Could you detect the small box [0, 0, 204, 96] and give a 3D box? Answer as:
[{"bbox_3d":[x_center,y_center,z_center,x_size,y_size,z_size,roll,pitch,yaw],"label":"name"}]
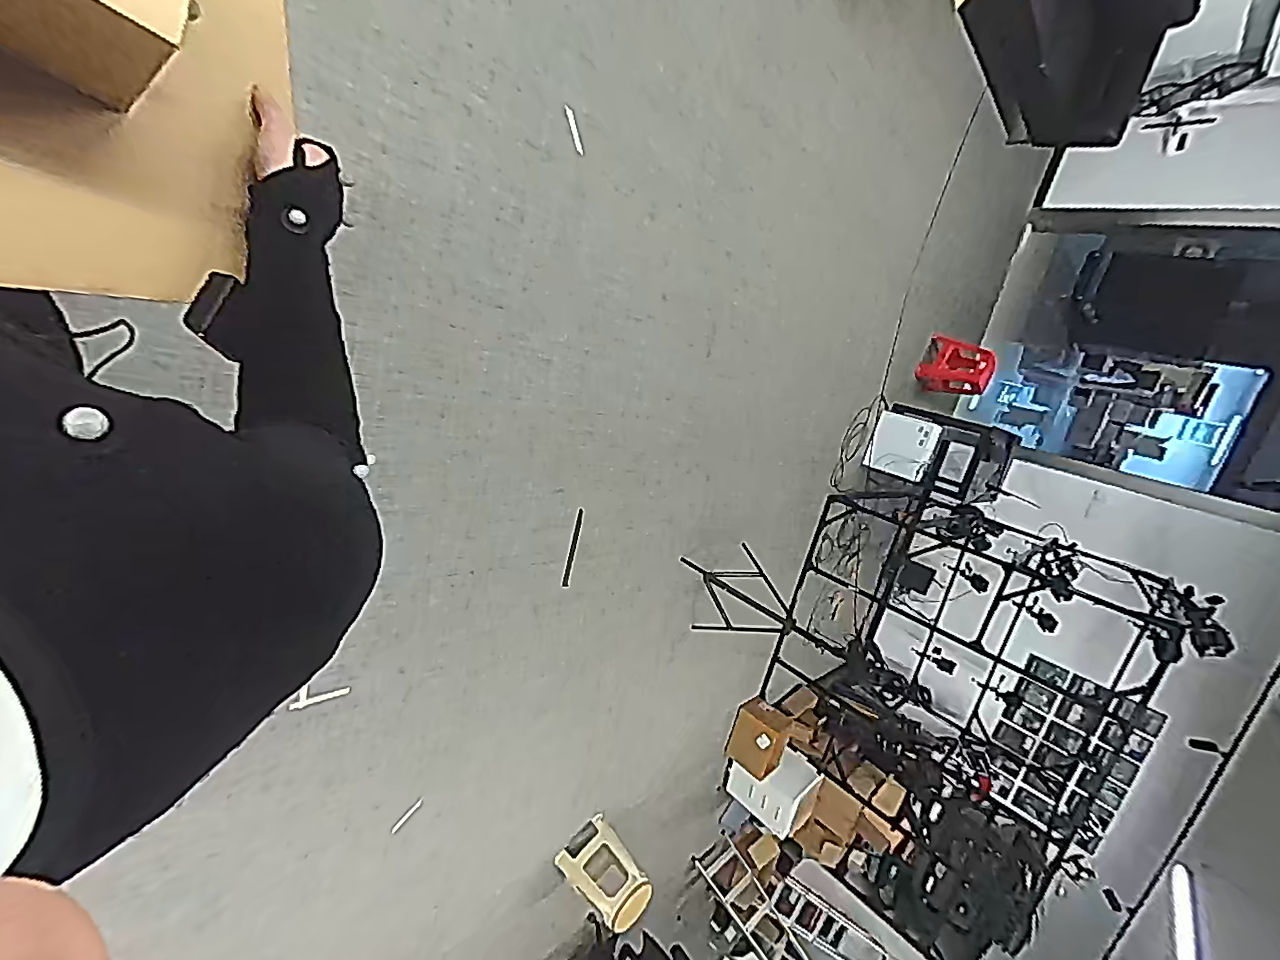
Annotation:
[{"bbox_3d":[-0.384,-0.373,0.326,0.179,0.176,0.168,10,93,-51],"label":"small box"}]
